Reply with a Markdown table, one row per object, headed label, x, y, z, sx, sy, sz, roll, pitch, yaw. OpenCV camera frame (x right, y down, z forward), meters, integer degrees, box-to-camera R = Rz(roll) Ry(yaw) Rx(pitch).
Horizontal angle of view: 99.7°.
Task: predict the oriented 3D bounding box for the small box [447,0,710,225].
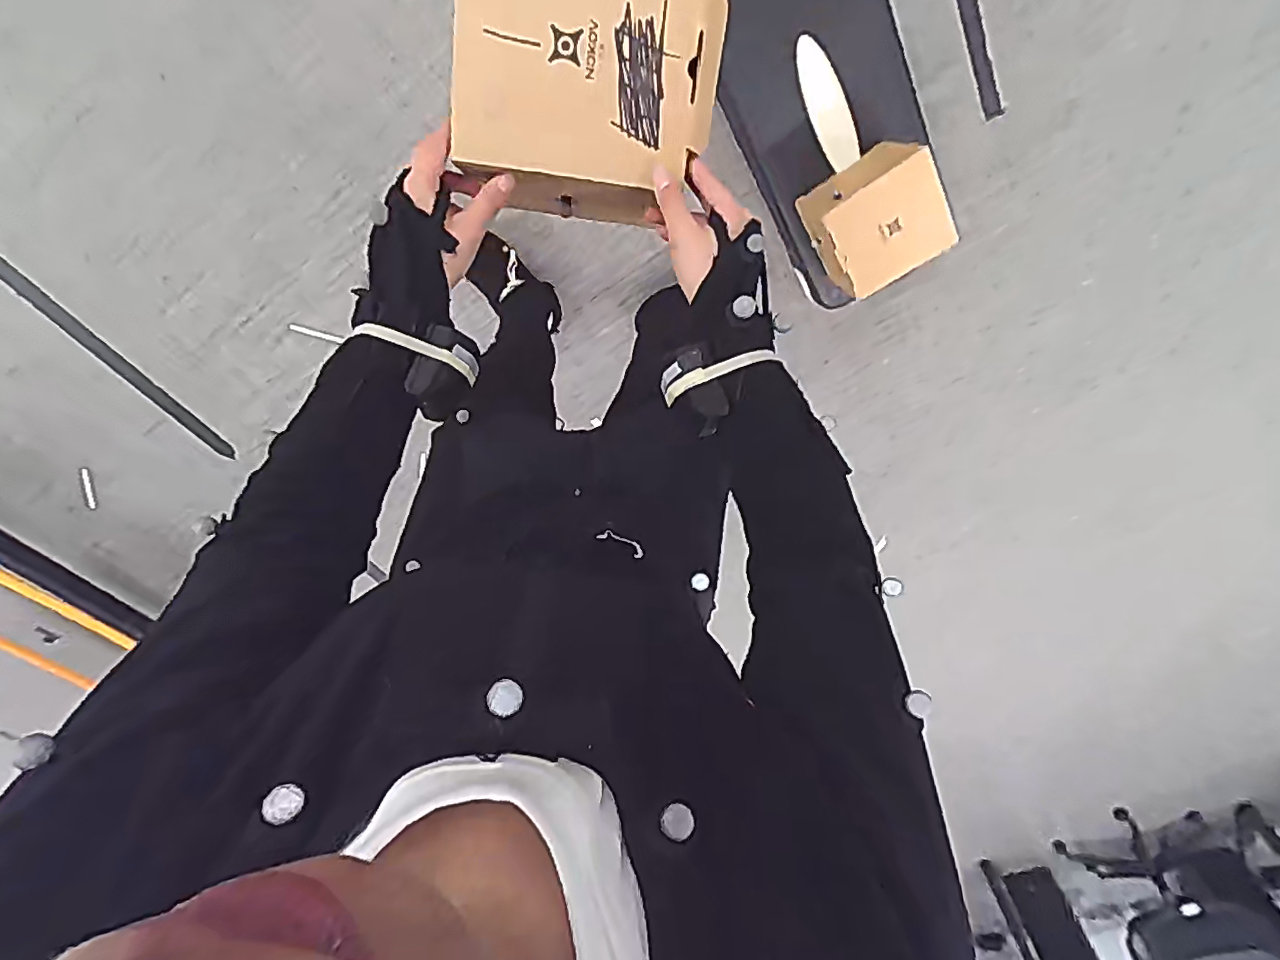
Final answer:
| label | x | y | z | sx | sy | sz | roll | pitch | yaw |
| --- | --- | --- | --- | --- | --- | --- | --- | --- | --- |
| small box | -0.046 | -0.322 | 0.452 | 0.179 | 0.176 | 0.168 | 7 | 106 | -3 |

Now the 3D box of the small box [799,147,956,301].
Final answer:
| label | x | y | z | sx | sy | sz | roll | pitch | yaw |
| --- | --- | --- | --- | --- | --- | --- | --- | --- | --- |
| small box | 0.404 | -0.450 | 0.941 | 0.179 | 0.176 | 0.168 | -30 | 120 | 18 |
